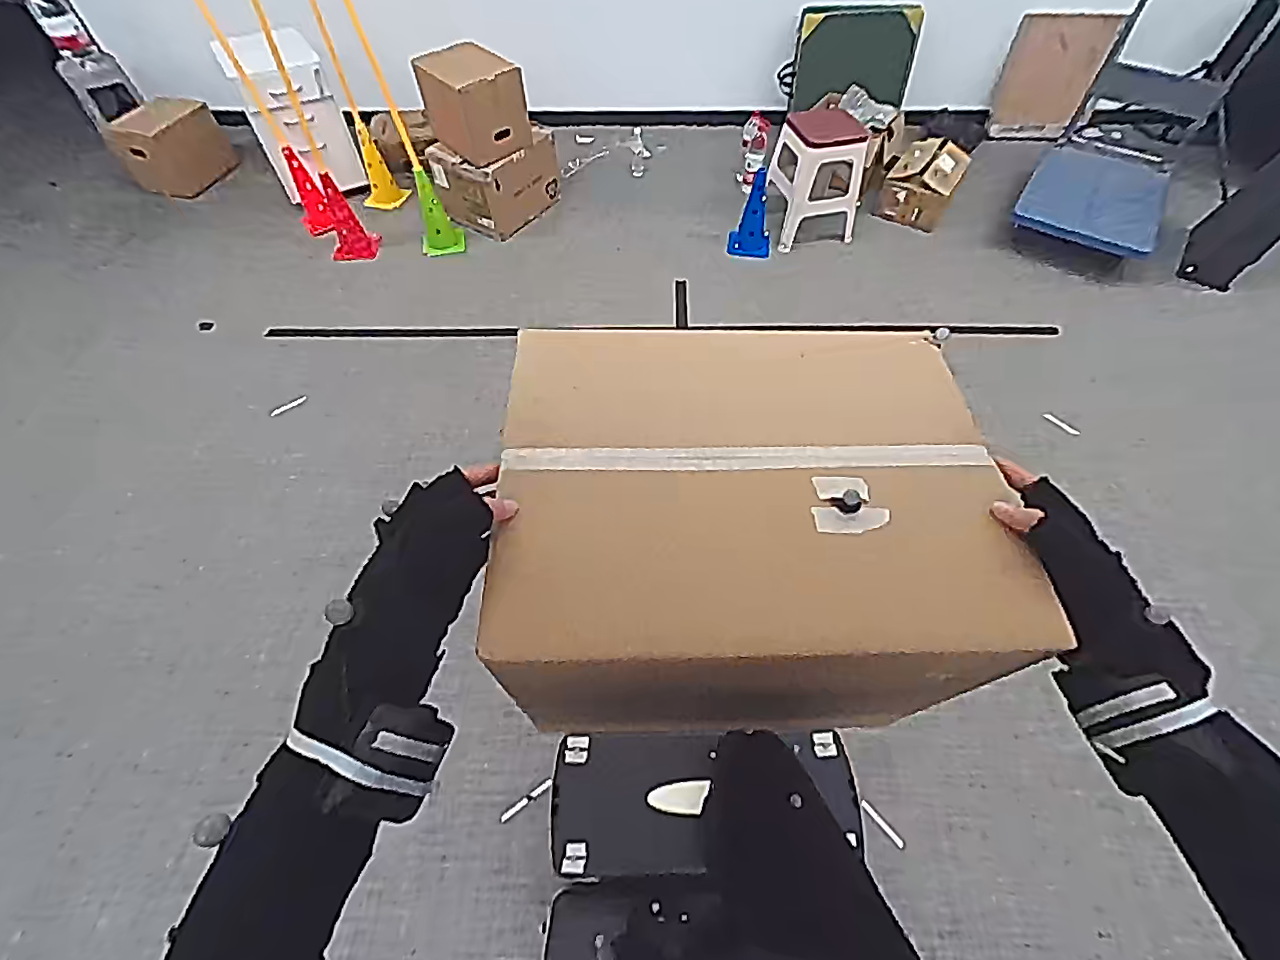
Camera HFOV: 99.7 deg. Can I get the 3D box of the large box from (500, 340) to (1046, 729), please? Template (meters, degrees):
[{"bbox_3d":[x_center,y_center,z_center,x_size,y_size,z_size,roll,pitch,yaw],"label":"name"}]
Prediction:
[{"bbox_3d":[0.085,0.070,0.585,0.408,0.320,0.320,-1,57,-3],"label":"large box"}]

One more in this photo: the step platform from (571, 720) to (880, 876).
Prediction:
[{"bbox_3d":[0.182,0.729,1.256,0.684,0.204,0.286,-2,56,-2],"label":"step platform"}]
